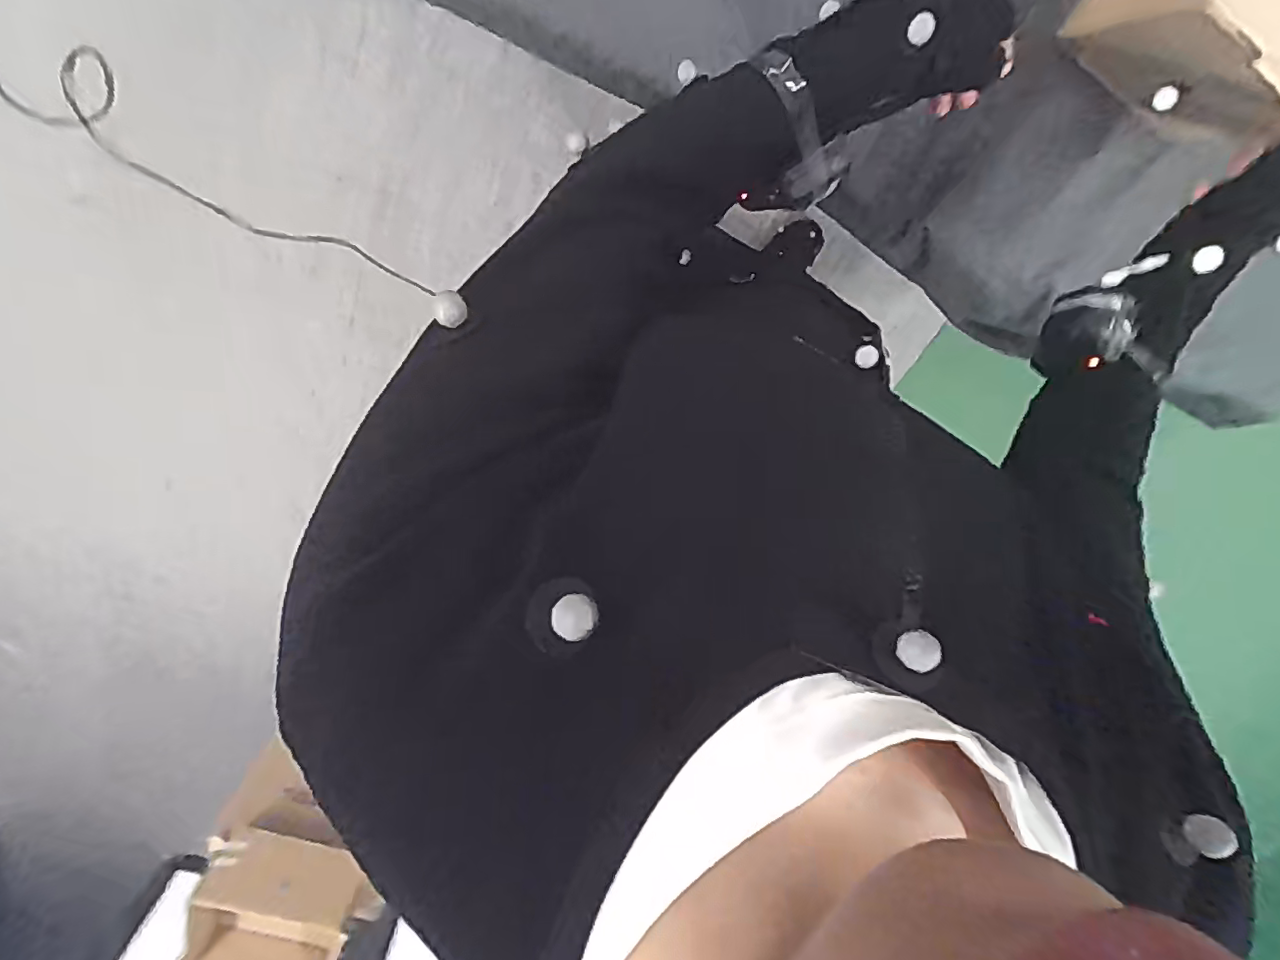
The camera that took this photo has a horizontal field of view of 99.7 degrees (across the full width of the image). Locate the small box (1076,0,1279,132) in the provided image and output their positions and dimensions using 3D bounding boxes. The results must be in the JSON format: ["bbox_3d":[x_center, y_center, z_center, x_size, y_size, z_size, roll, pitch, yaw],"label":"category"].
[{"bbox_3d":[0.484,-0.389,0.405,0.168,0.176,0.179,25,121,-15],"label":"small box"}]
